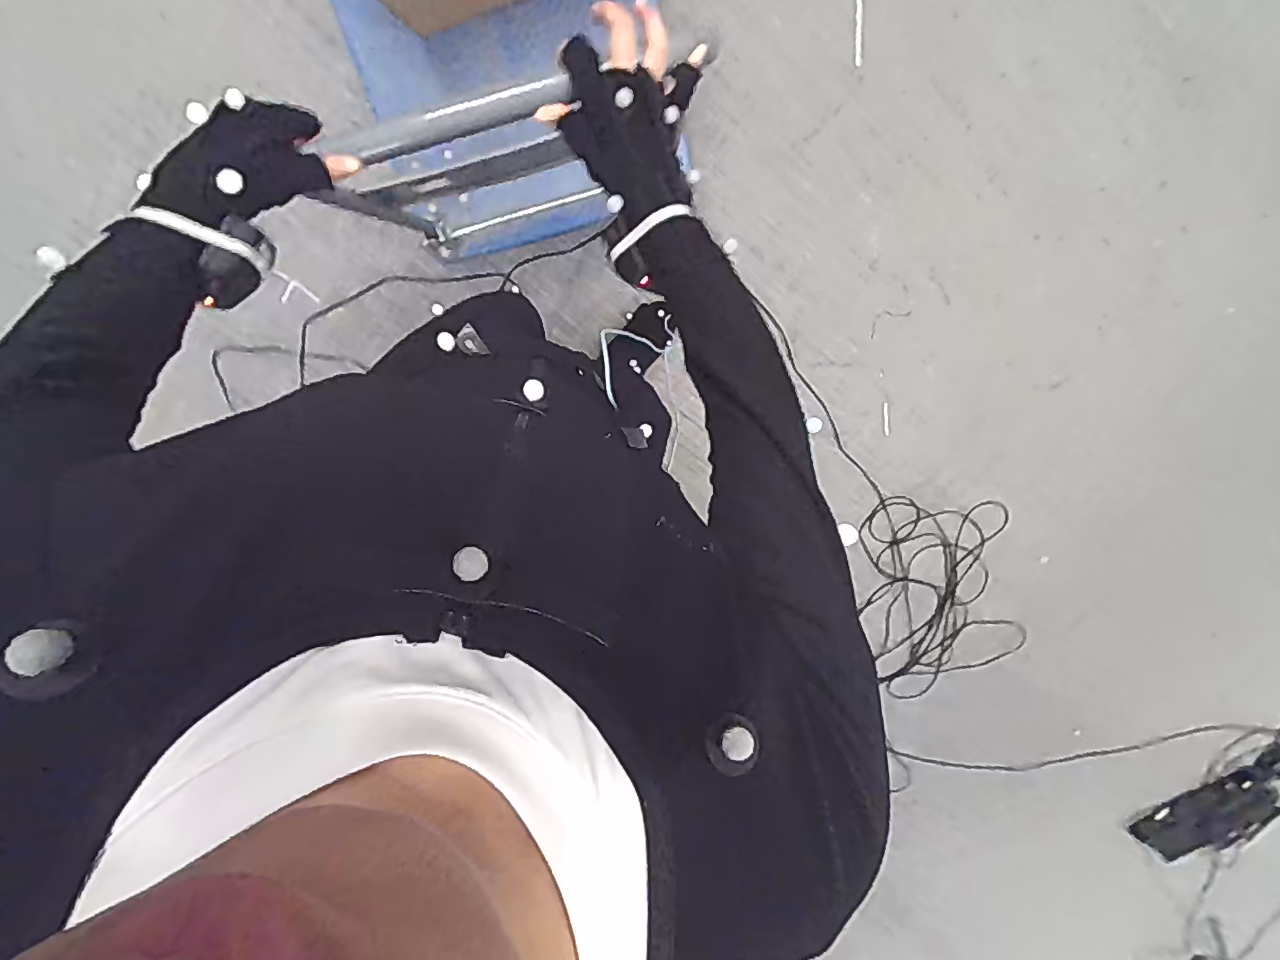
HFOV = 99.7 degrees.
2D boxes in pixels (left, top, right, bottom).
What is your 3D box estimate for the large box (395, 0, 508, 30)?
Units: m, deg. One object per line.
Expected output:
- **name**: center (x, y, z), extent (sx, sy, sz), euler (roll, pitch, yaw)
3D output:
- **large box**: center (-0.244, -0.946, 0.776), extent (0.408, 0.320, 0.320), euler (-15, 112, 8)
